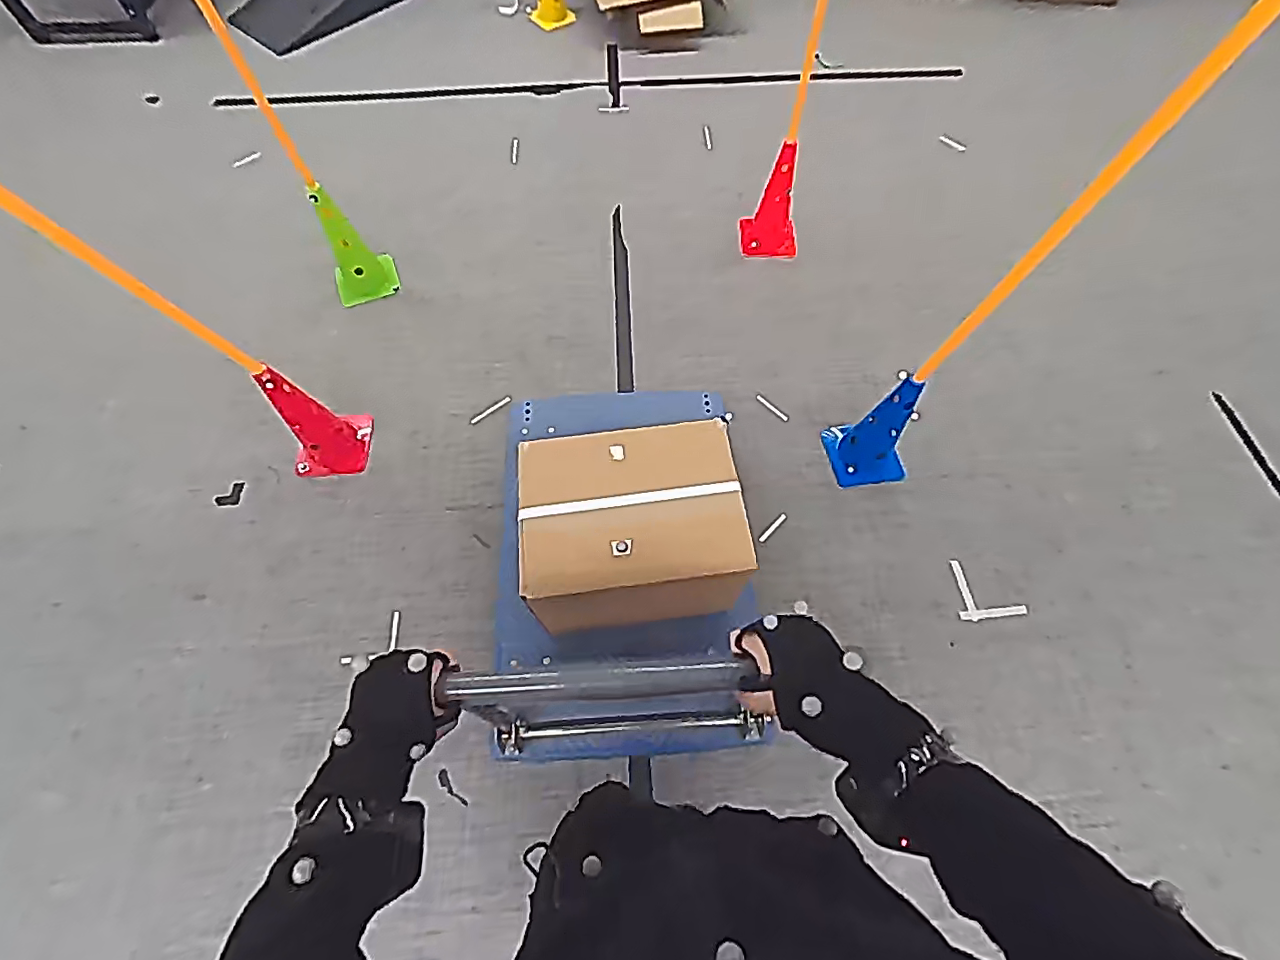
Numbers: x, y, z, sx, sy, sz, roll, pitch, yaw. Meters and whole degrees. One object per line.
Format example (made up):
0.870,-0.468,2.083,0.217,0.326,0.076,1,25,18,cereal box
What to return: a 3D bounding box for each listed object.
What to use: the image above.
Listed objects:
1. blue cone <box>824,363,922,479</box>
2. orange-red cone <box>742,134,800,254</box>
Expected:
0.650,-0.166,1.429,0.193,0.380,0.192,-6,63,-3,blue cone
0.473,-0.973,1.813,0.199,0.360,0.198,3,64,1,orange-red cone
